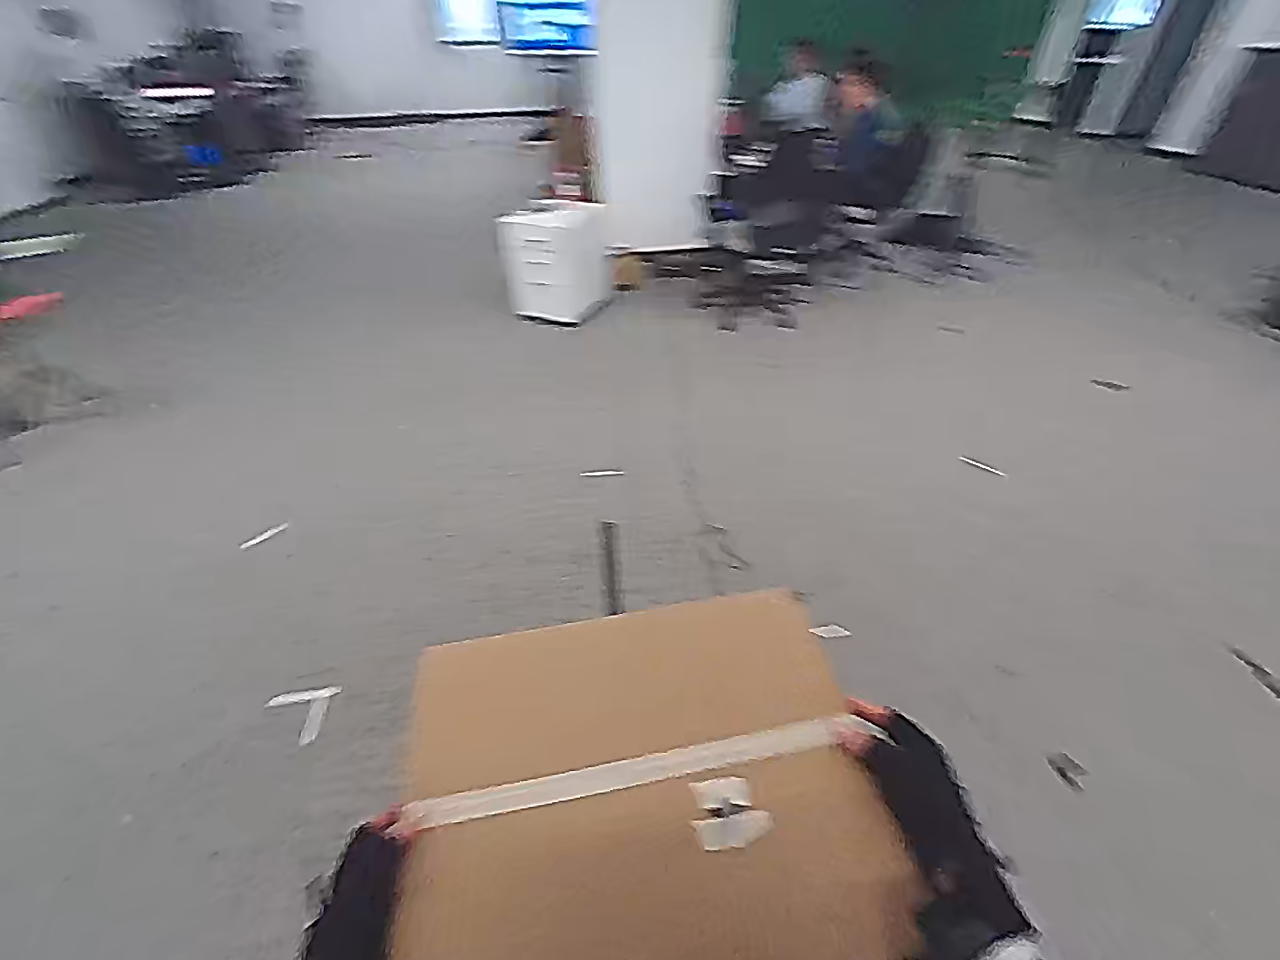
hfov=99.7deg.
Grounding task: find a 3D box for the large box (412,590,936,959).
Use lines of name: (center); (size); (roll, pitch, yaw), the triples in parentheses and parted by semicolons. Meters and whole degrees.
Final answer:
large box: (0.009, 0.364, 0.595); (0.408, 0.320, 0.320); (-7, 46, -6)
